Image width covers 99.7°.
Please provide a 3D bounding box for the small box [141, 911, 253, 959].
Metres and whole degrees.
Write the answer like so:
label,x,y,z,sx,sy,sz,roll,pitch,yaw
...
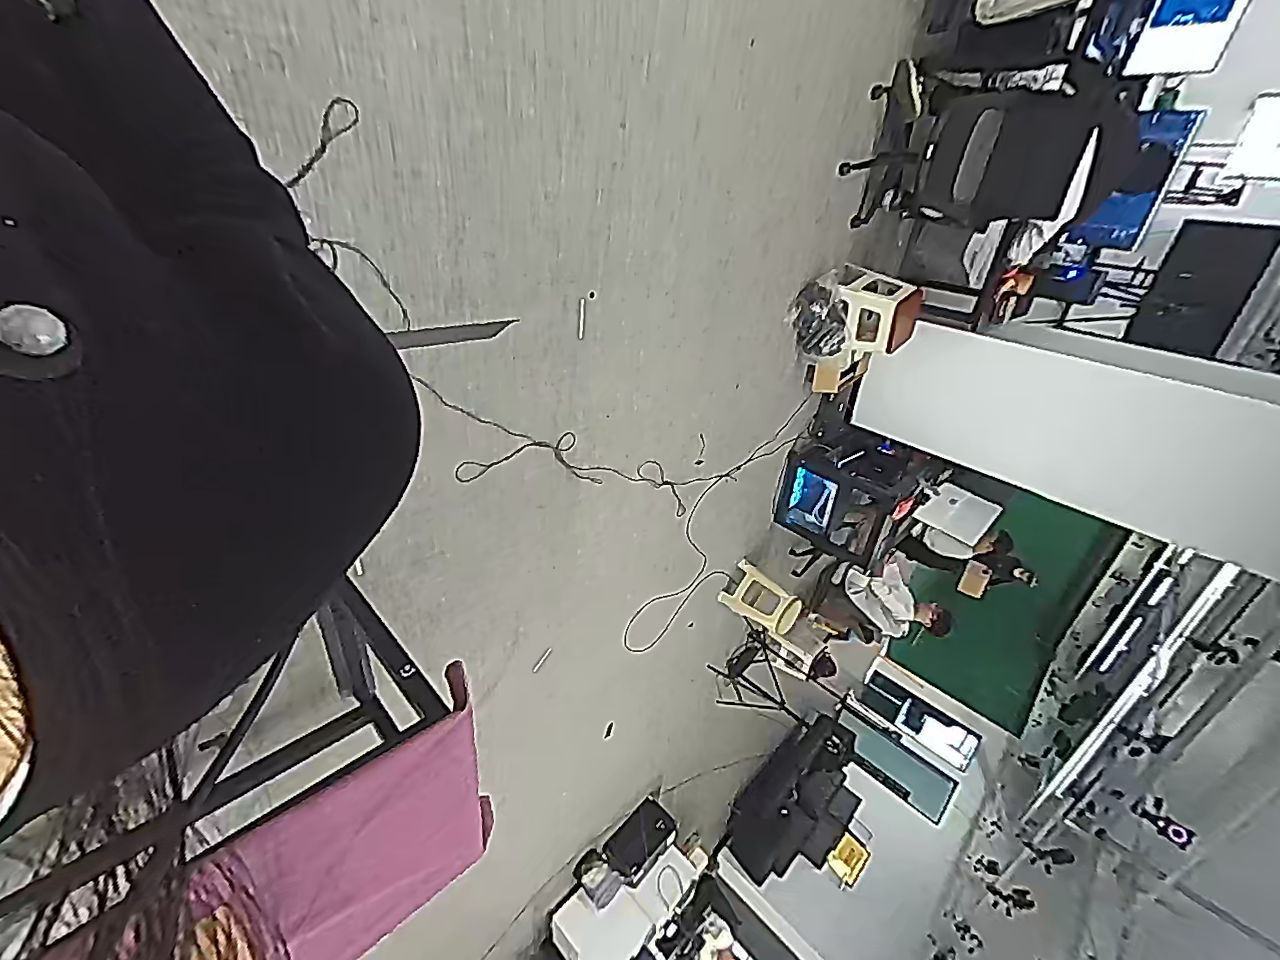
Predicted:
label,x,y,z,sx,sy,sz,roll,pitch,yaw
small box,-0.728,0.867,0.882,0.168,0.176,0.179,-21,130,-43
